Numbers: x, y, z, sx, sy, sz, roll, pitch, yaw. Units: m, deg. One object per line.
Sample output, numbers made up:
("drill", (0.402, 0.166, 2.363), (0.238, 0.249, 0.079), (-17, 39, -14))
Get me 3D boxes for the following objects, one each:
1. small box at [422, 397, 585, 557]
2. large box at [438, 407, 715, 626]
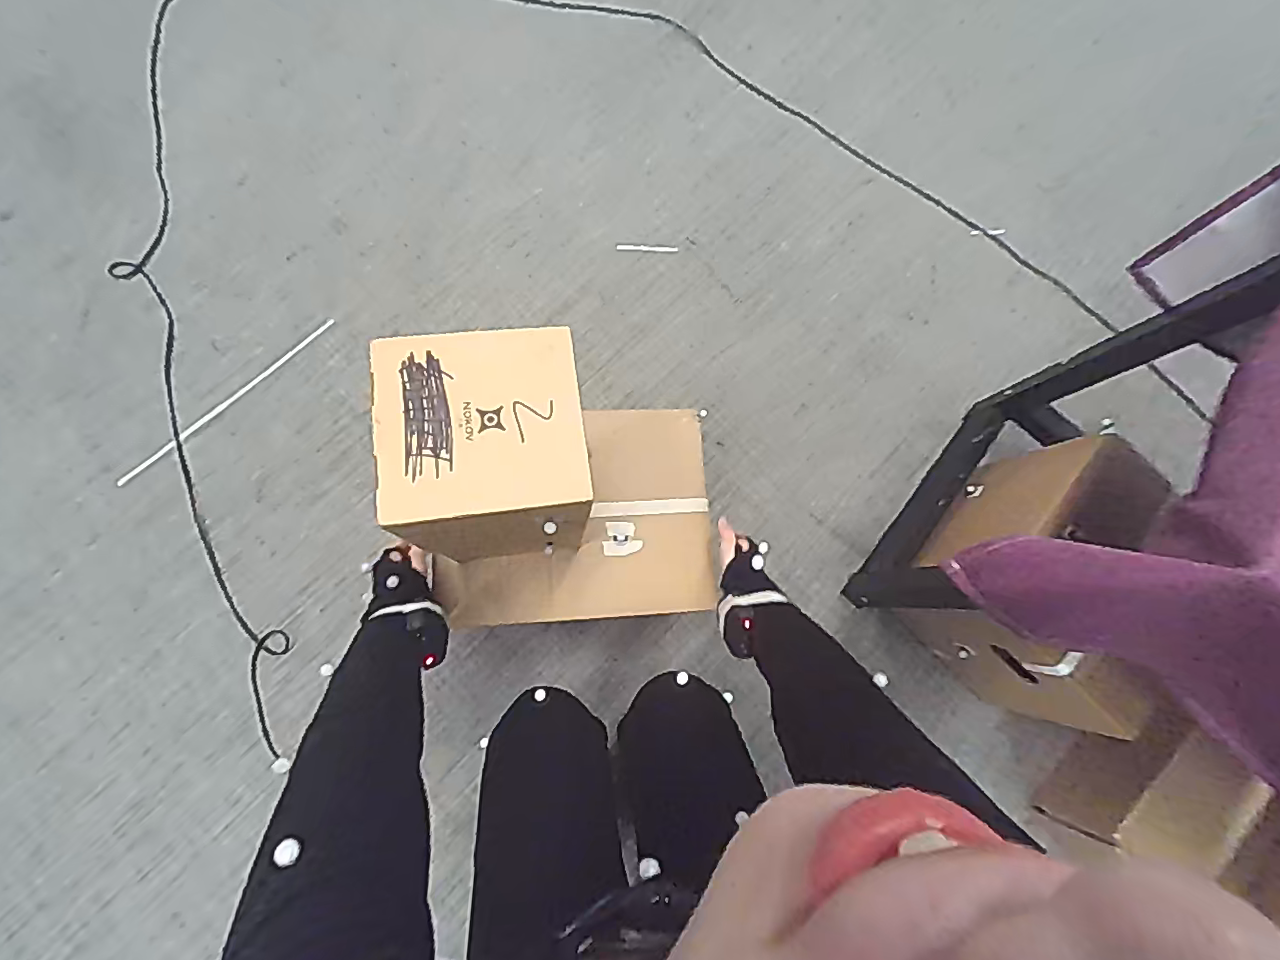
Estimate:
("small box", (-0.168, 0.004, 0.699), (0.179, 0.176, 0.168), (-6, 77, -8))
("large box", (-0.116, 0.074, 0.944), (0.408, 0.320, 0.320), (-2, 79, -9))
